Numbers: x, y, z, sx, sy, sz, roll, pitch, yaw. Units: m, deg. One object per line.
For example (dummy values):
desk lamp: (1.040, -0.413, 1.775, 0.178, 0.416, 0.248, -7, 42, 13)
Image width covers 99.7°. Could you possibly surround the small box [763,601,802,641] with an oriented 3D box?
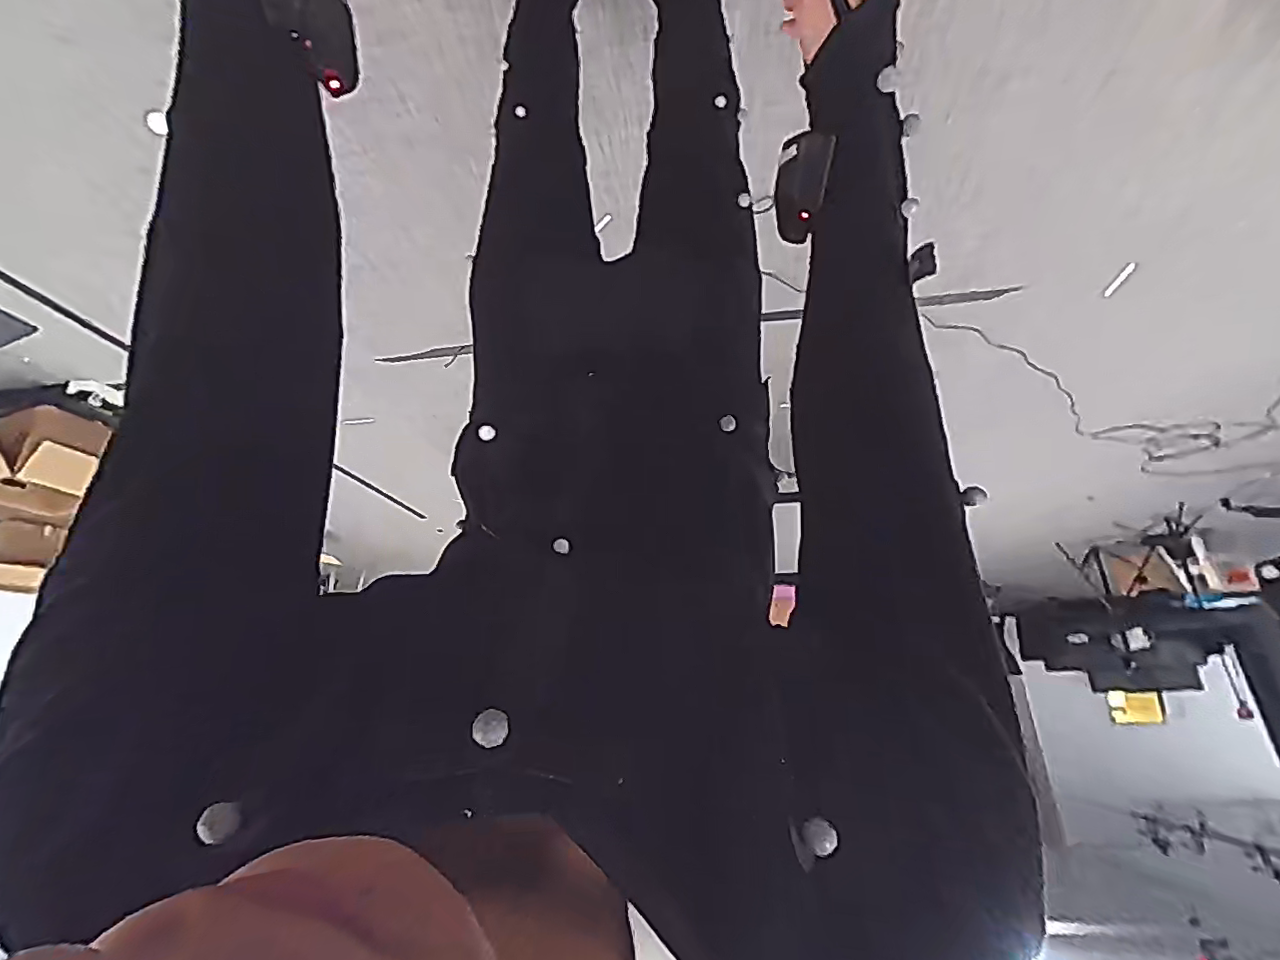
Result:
small box: (0.701, 0.694, 2.664, 0.168, 0.176, 0.179, -5, 156, 11)
